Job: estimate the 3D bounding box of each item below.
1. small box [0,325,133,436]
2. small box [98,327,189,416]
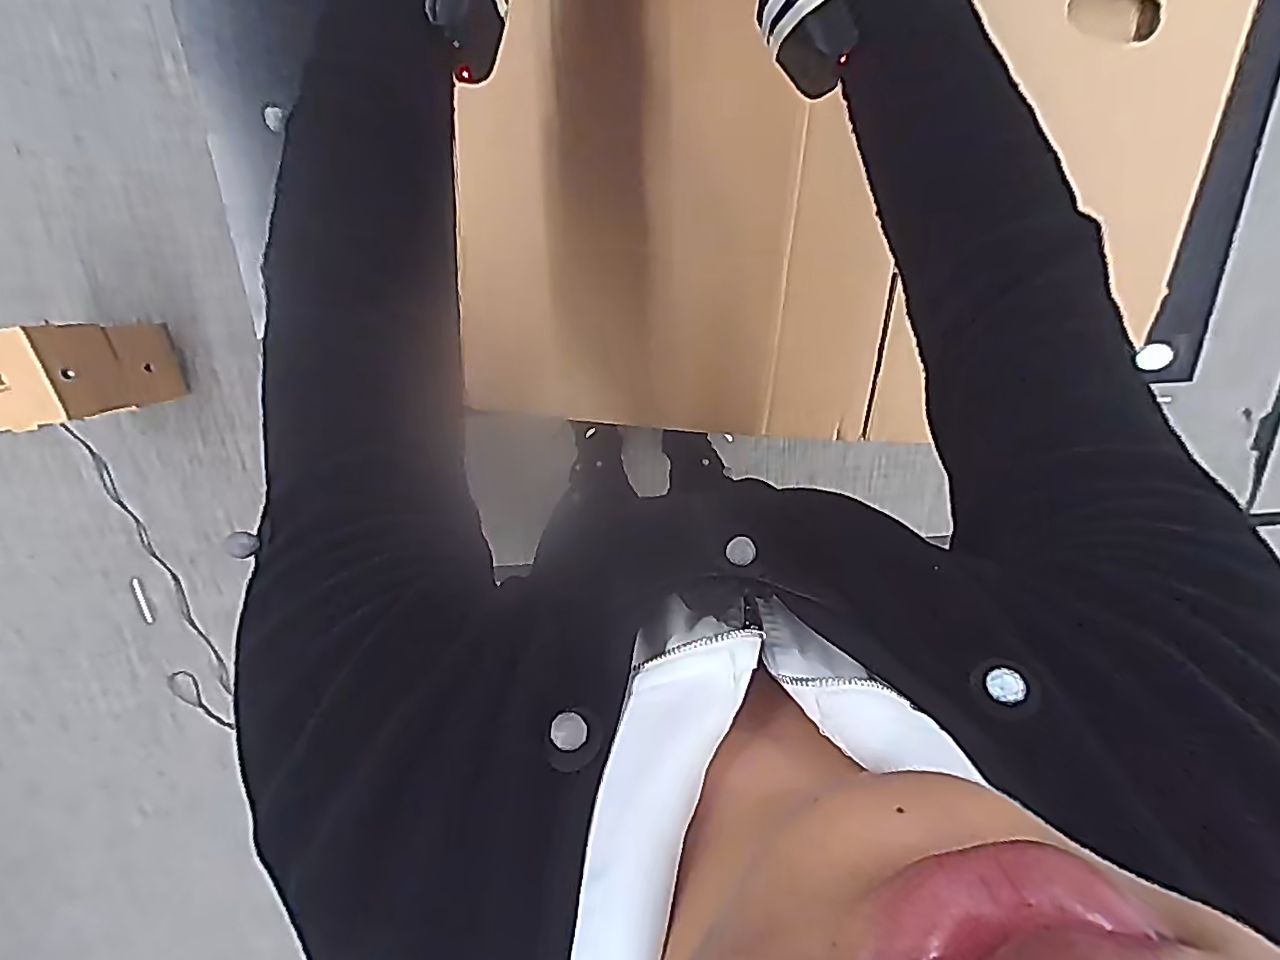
[{"bbox_3d":[-1.150,-0.196,1.043,0.168,0.176,0.179,-11,108,-3],"label":"small box"},{"bbox_3d":[-1.164,-0.243,1.198,0.168,0.176,0.179,-7,110,-4],"label":"small box"}]
